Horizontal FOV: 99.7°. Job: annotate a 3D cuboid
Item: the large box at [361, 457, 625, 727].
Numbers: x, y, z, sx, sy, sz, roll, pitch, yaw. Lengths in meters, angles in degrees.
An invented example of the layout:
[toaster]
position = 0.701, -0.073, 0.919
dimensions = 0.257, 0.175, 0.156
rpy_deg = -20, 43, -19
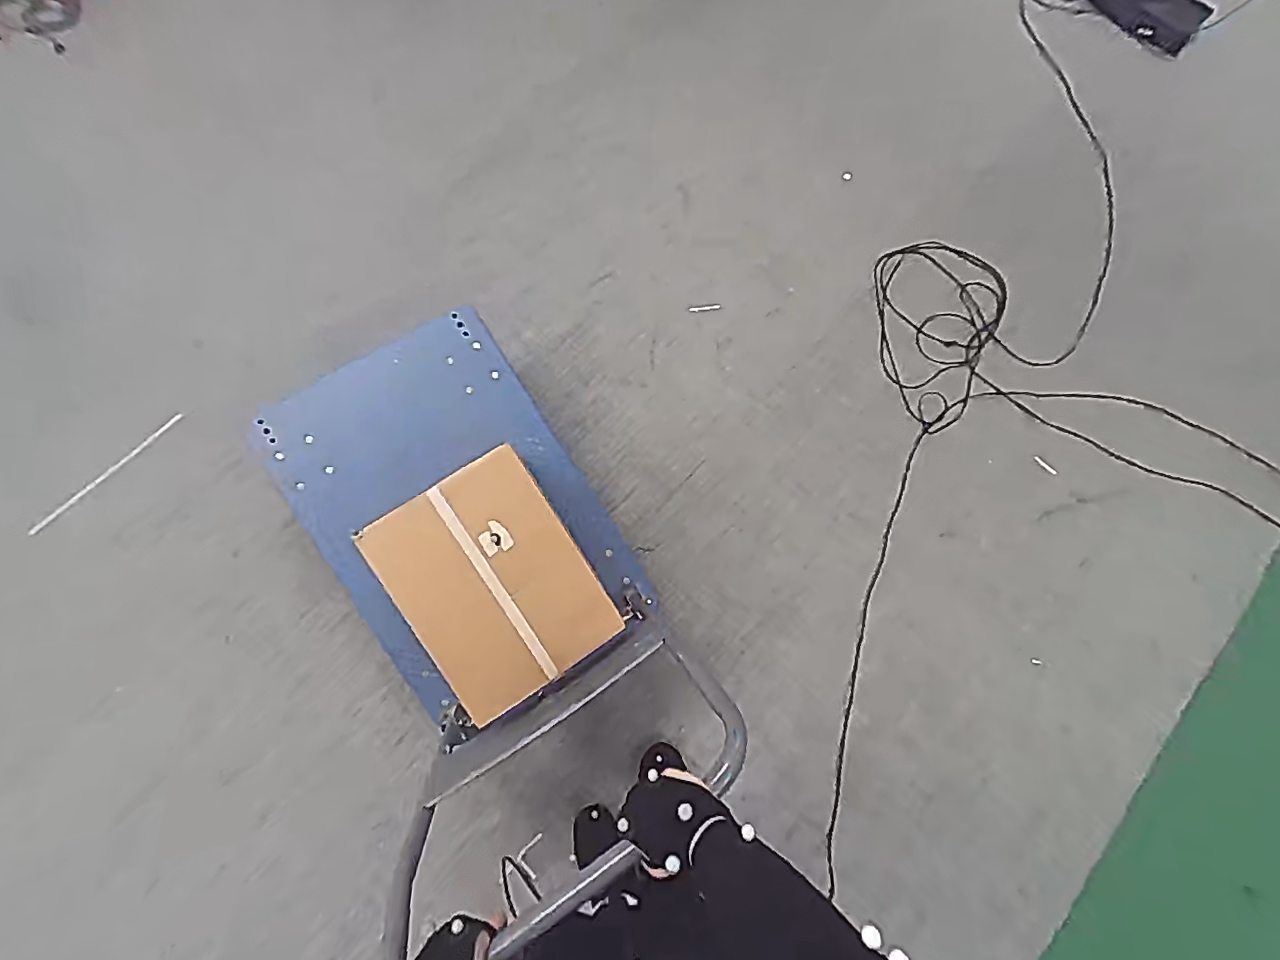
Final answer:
[large box]
position = -0.278, 0.208, 1.126
dimensions = 0.320, 0.320, 0.408
rpy_deg = -33, 92, -9
